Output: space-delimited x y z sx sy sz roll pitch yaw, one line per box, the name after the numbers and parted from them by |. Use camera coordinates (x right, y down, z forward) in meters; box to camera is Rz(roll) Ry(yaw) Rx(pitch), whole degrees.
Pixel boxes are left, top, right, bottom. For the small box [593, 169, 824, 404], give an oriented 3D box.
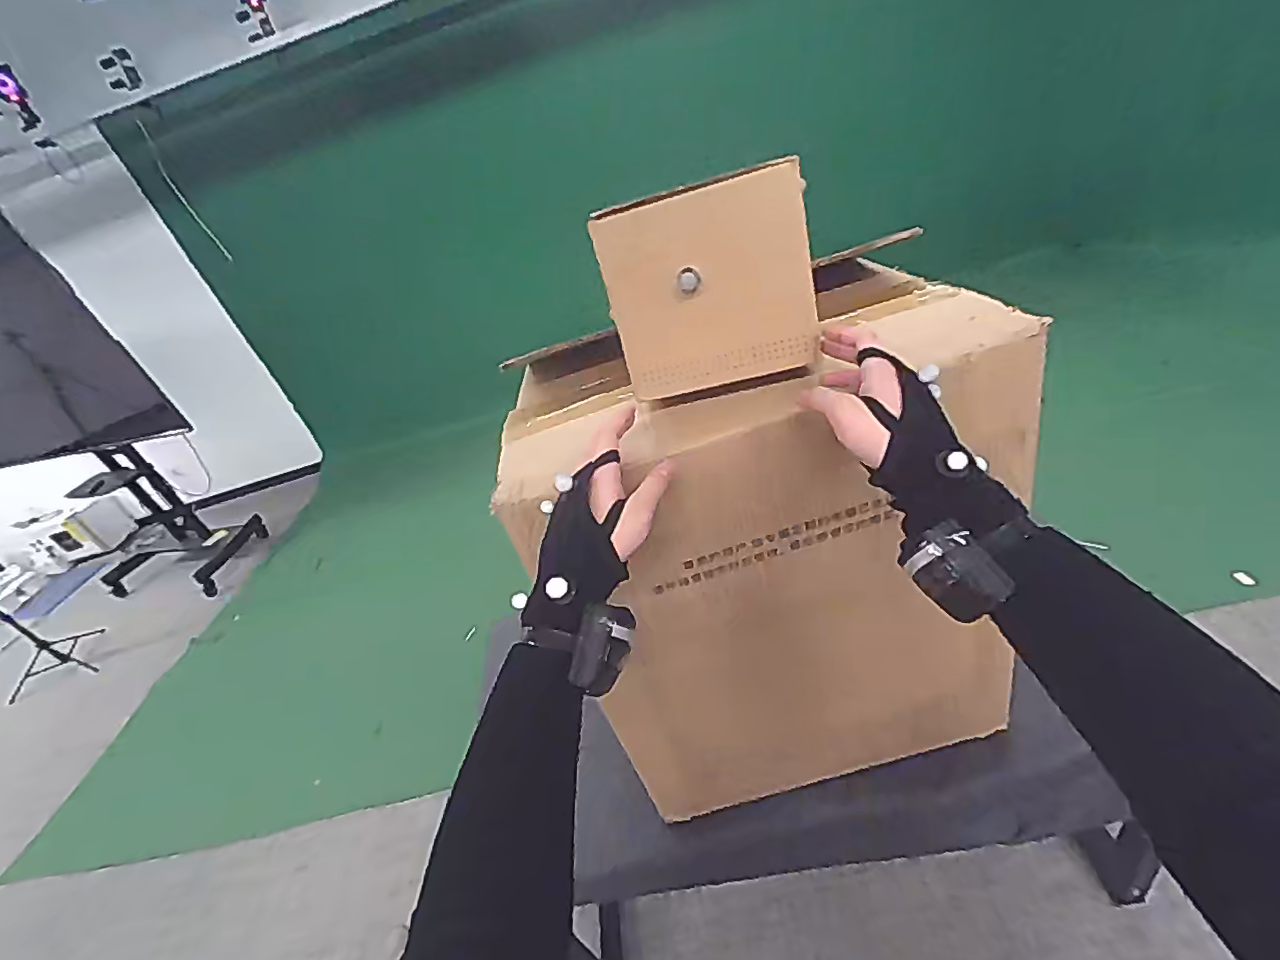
0.070 -0.189 0.539 0.179 0.176 0.168 -12 27 10 | small box
